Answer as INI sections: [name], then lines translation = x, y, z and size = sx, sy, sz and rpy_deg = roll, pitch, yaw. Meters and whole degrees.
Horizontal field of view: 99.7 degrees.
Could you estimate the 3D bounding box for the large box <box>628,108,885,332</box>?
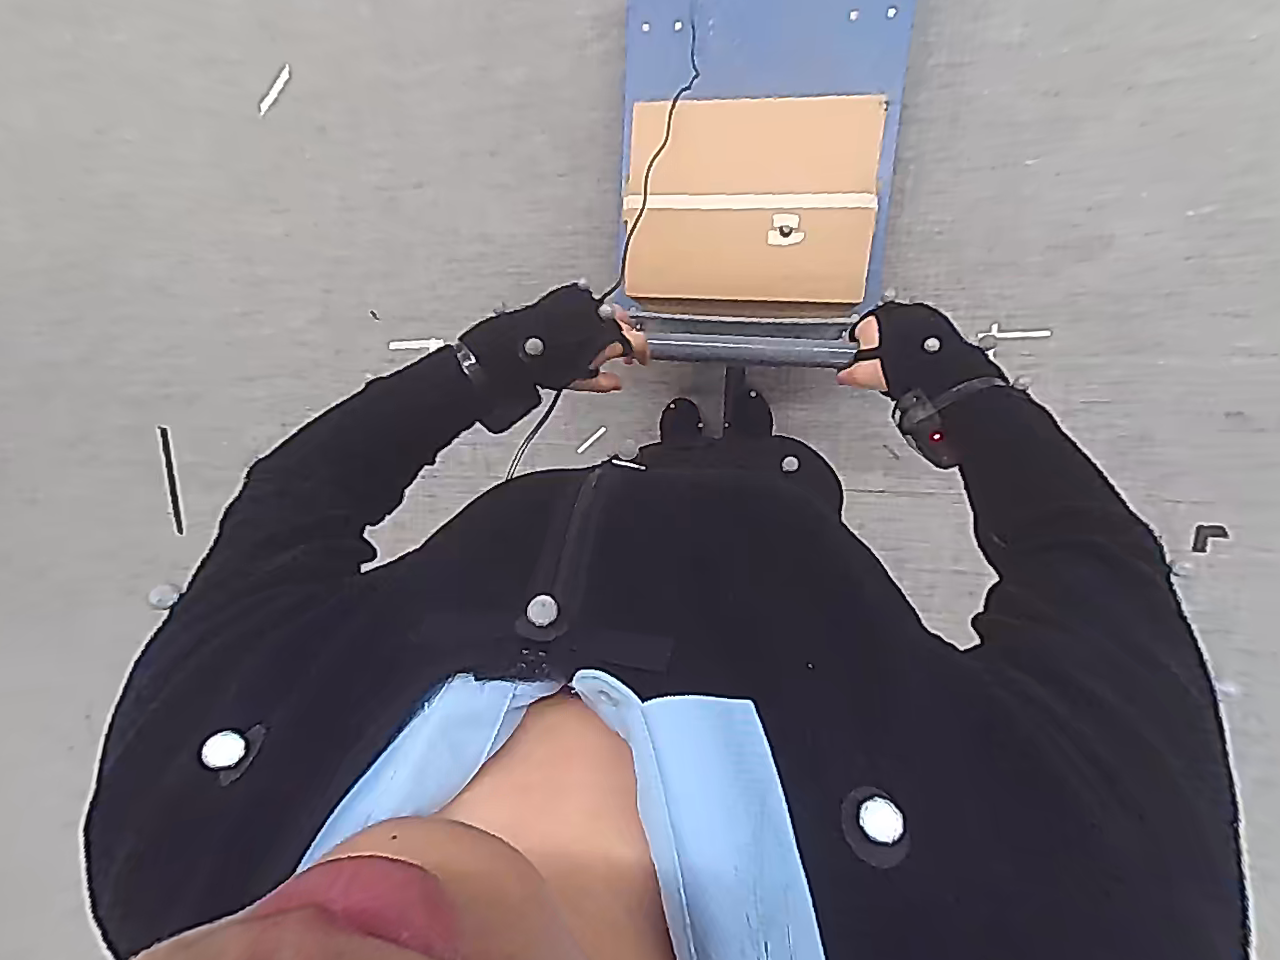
[large box]
translation = 0.201, -0.460, 1.034
size = 0.408, 0.320, 0.320
rpy_deg = 5, 101, 9
